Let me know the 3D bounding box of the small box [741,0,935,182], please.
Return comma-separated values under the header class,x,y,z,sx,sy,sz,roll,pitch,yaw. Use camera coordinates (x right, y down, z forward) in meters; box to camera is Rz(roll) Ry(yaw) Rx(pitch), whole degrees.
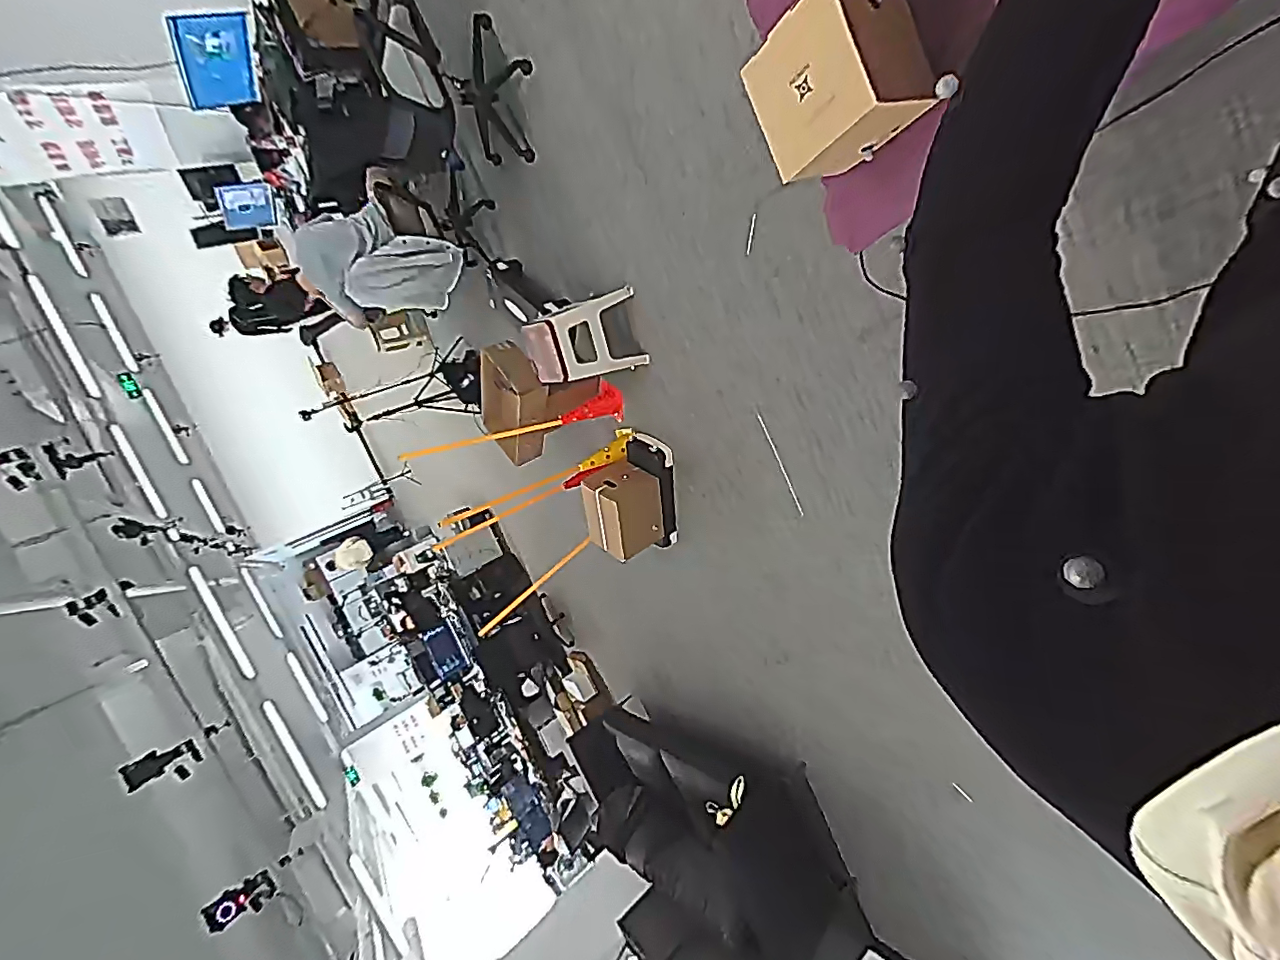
class,x,y,z,sx,sy,sz,roll,pitch,yaw
small box,0.283,-0.564,0.777,0.168,0.176,0.179,-16,99,59
